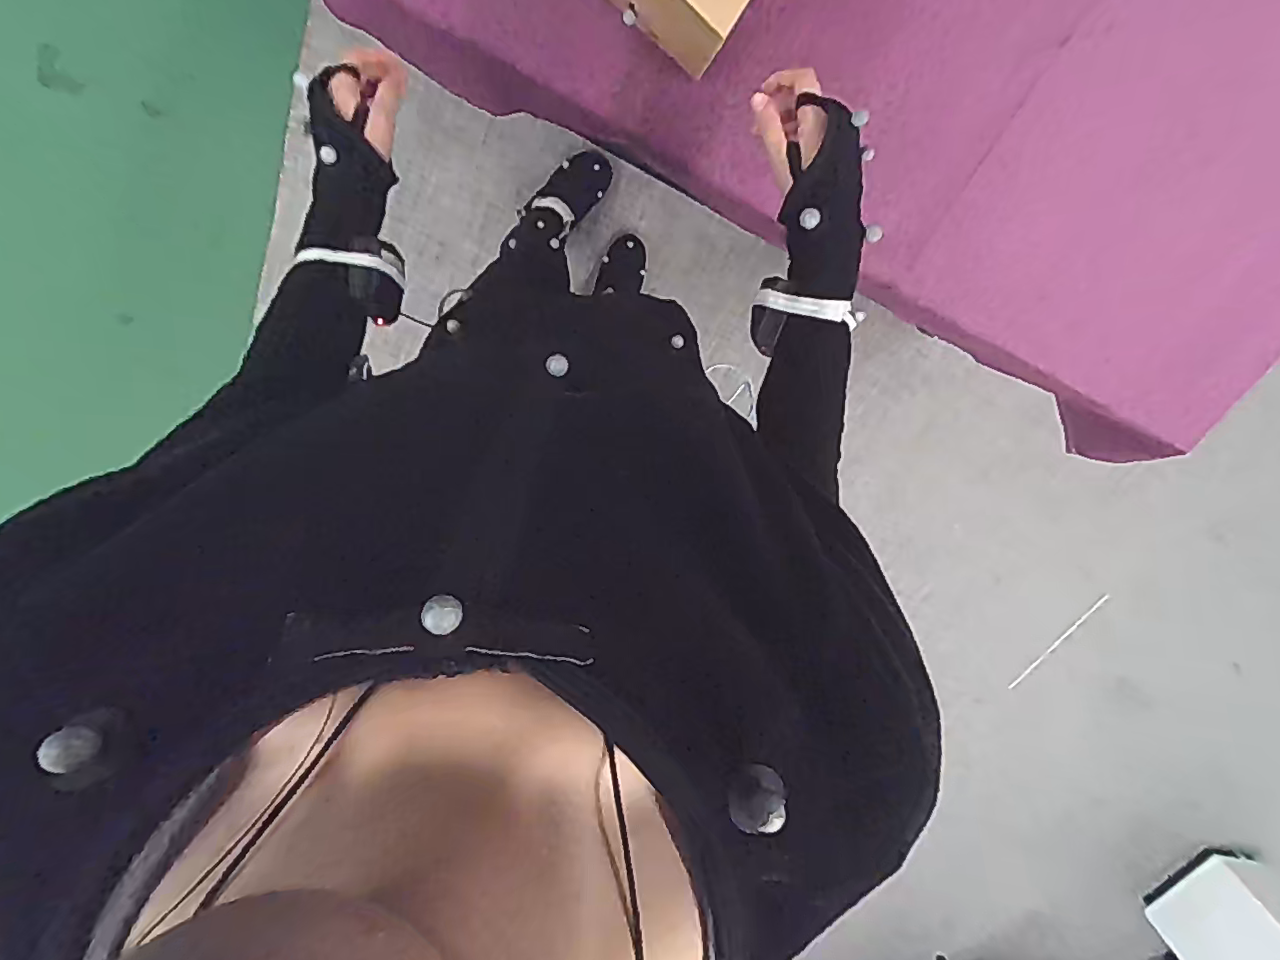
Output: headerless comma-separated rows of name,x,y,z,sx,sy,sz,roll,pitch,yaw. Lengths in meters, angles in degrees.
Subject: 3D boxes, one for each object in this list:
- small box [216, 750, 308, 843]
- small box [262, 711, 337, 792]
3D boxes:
small box,-1.165,0.977,1.678,0.168,0.176,0.179,21,112,-12
small box,-1.161,0.915,1.831,0.179,0.176,0.168,21,112,-13
